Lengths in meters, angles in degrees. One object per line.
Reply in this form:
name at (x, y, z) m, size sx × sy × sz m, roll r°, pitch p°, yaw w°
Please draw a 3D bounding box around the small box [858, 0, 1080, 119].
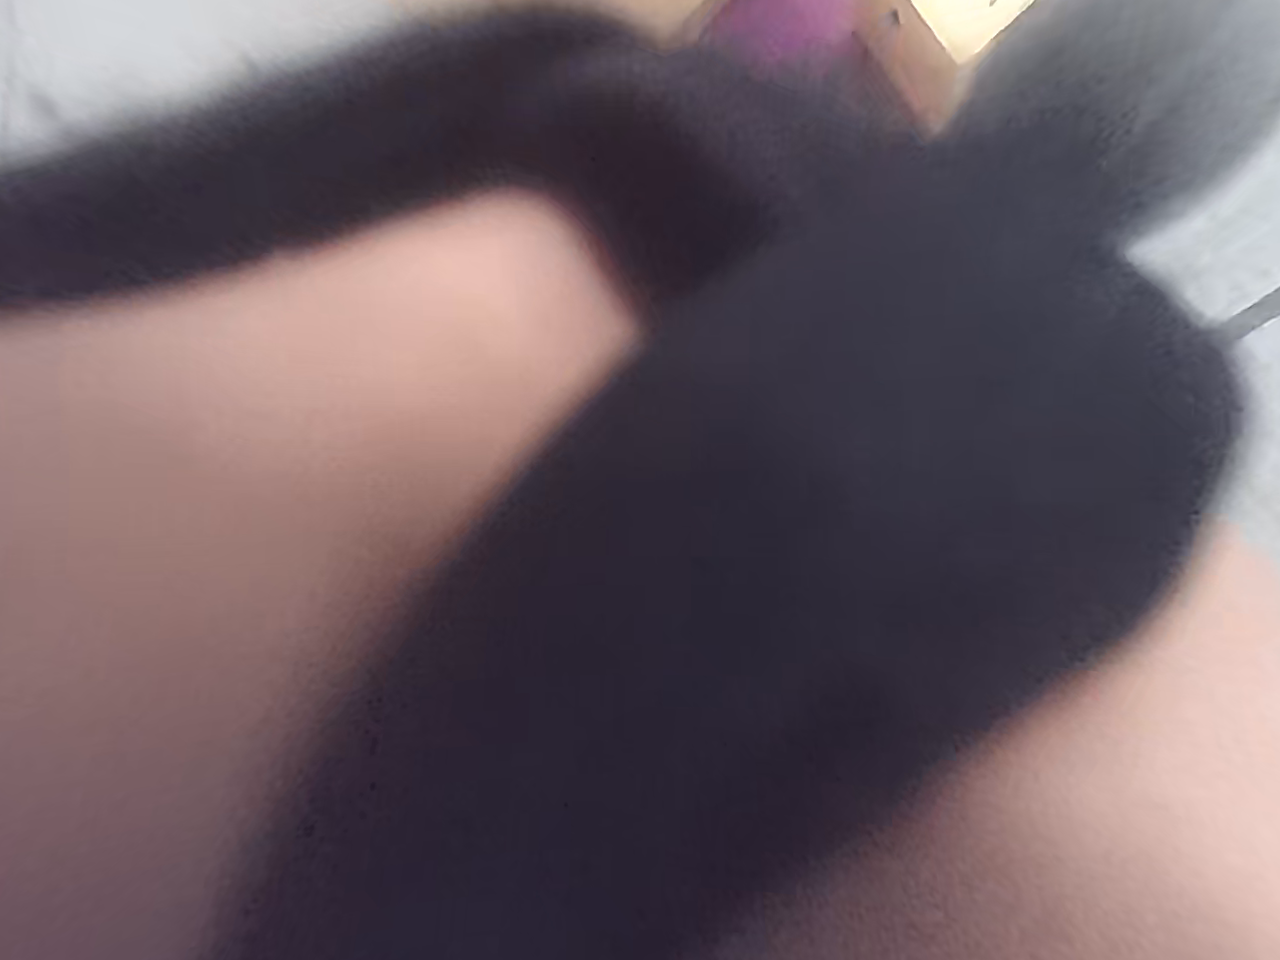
small box at (0.345, -0.531, 0.563) m, size 0.168 × 0.176 × 0.179 m, roll -35°, pitch 88°, yaw 24°
